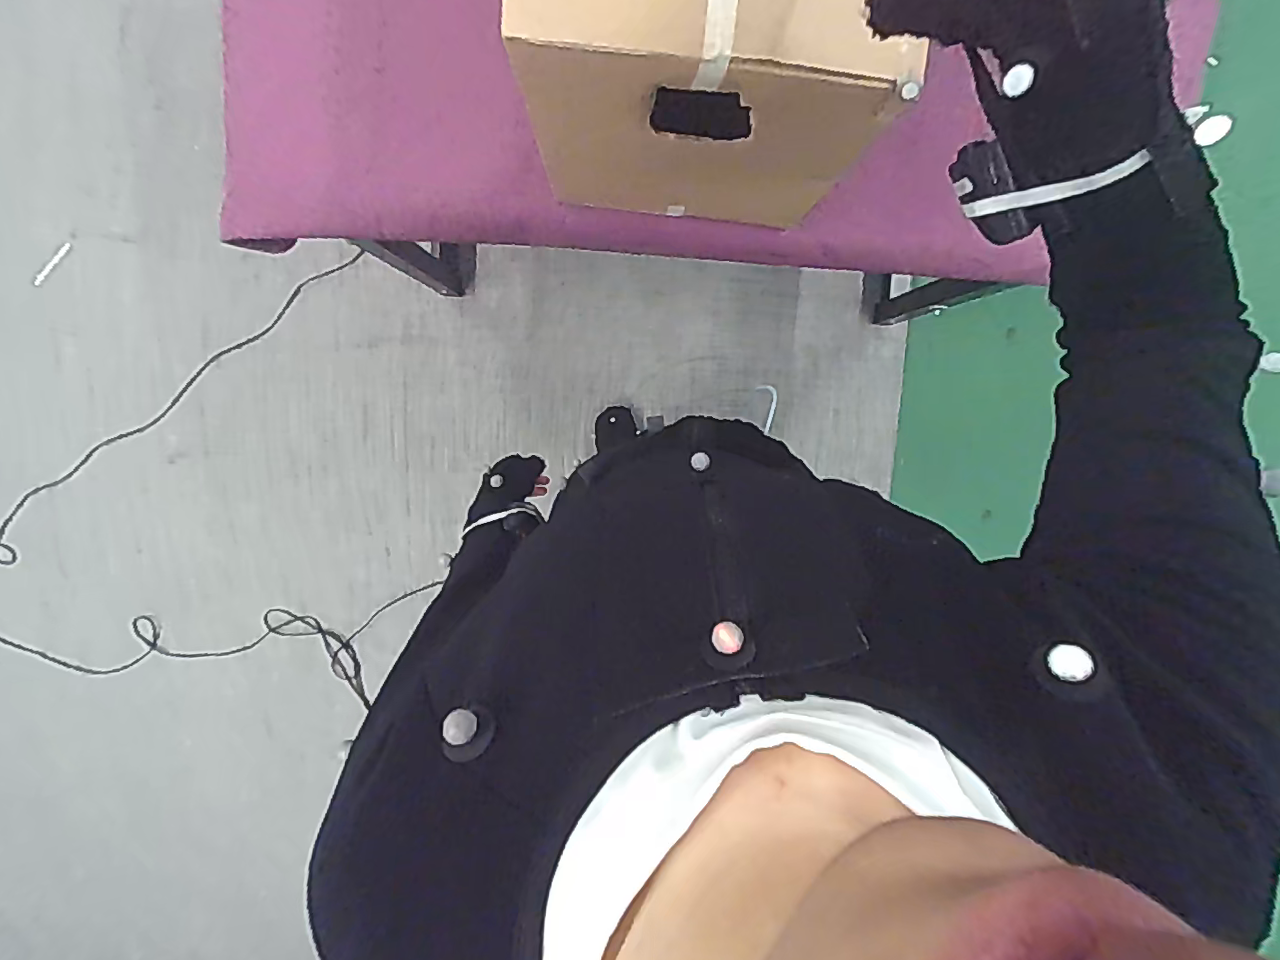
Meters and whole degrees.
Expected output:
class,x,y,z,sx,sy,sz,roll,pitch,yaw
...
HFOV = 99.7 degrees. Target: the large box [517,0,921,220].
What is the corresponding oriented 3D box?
class,x,y,z,sx,sy,sz,roll,pitch,yaw
large box,0.068,-0.530,0.533,0.320,0.320,0.408,5,98,-2
